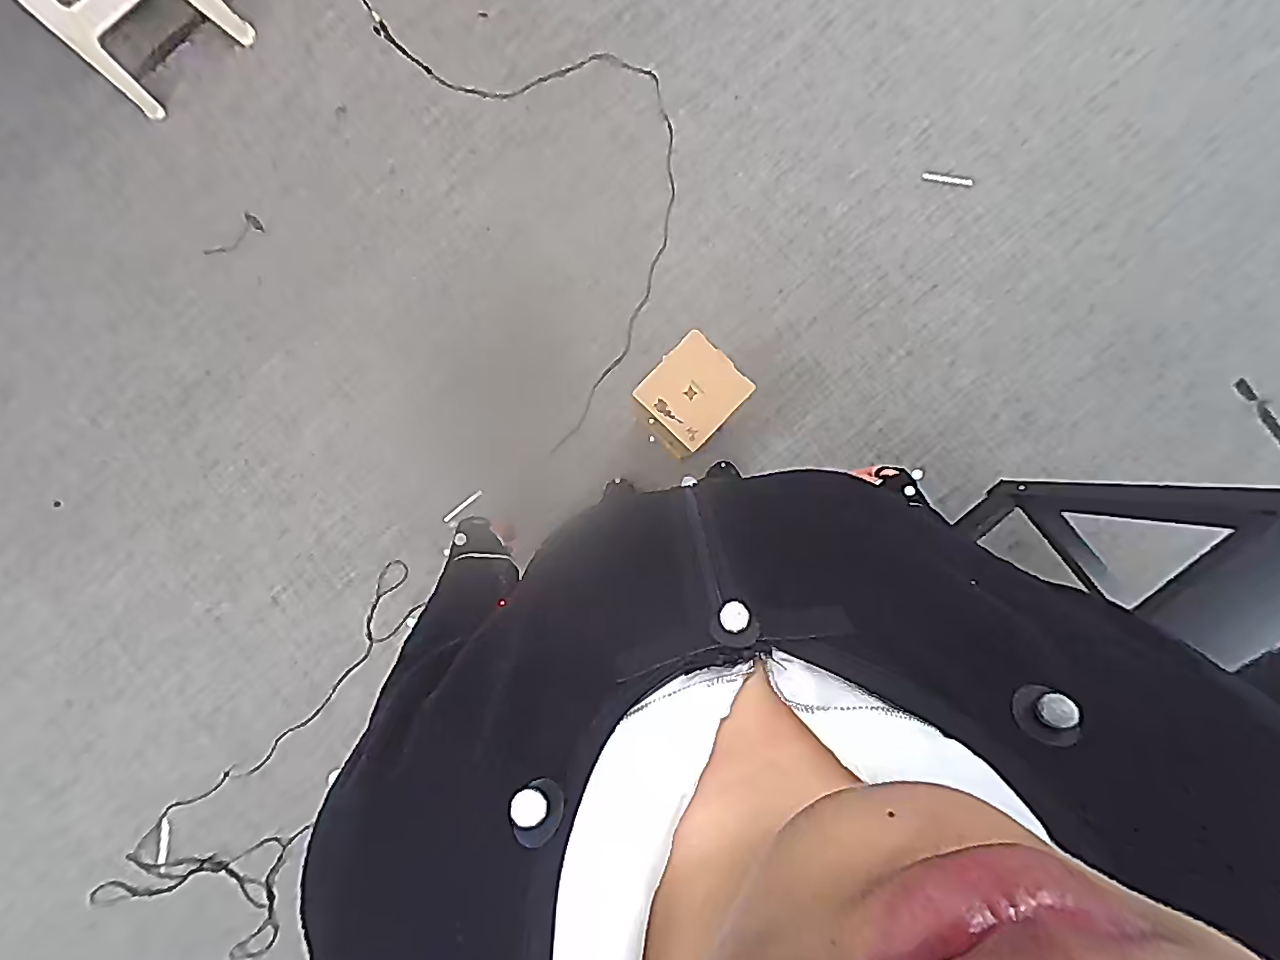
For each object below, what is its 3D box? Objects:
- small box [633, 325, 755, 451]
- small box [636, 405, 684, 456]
[{"bbox_3d":[0.101,-0.177,1.099,0.168,0.176,0.179,44,91,1],"label":"small box"},{"bbox_3d":[0.105,-0.179,1.427,0.179,0.176,0.168,-43,89,2],"label":"small box"}]
